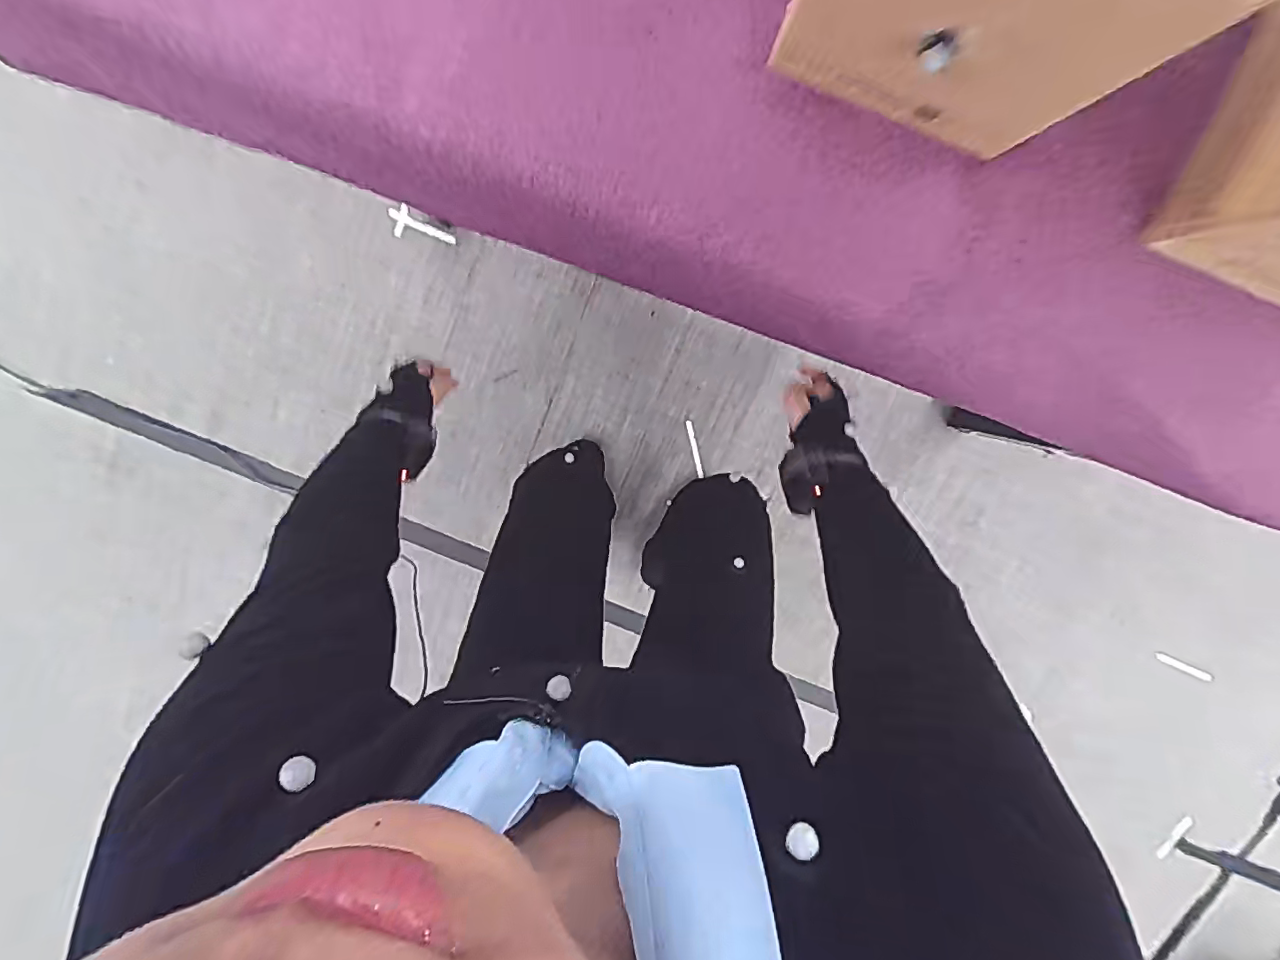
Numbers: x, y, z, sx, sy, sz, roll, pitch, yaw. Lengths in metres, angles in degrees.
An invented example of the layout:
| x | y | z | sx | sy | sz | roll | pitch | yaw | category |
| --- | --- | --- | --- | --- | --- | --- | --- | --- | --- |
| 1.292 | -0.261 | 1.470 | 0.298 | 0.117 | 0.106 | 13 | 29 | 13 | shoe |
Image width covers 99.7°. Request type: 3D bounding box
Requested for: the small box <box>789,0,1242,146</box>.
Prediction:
| x | y | z | sx | sy | sz | roll | pitch | yaw | category |
| --- | --- | --- | --- | --- | --- | --- | --- | --- | --- |
| 0.194 | -0.310 | 0.272 | 0.168 | 0.176 | 0.179 | 19 | 100 | -6 | small box |
